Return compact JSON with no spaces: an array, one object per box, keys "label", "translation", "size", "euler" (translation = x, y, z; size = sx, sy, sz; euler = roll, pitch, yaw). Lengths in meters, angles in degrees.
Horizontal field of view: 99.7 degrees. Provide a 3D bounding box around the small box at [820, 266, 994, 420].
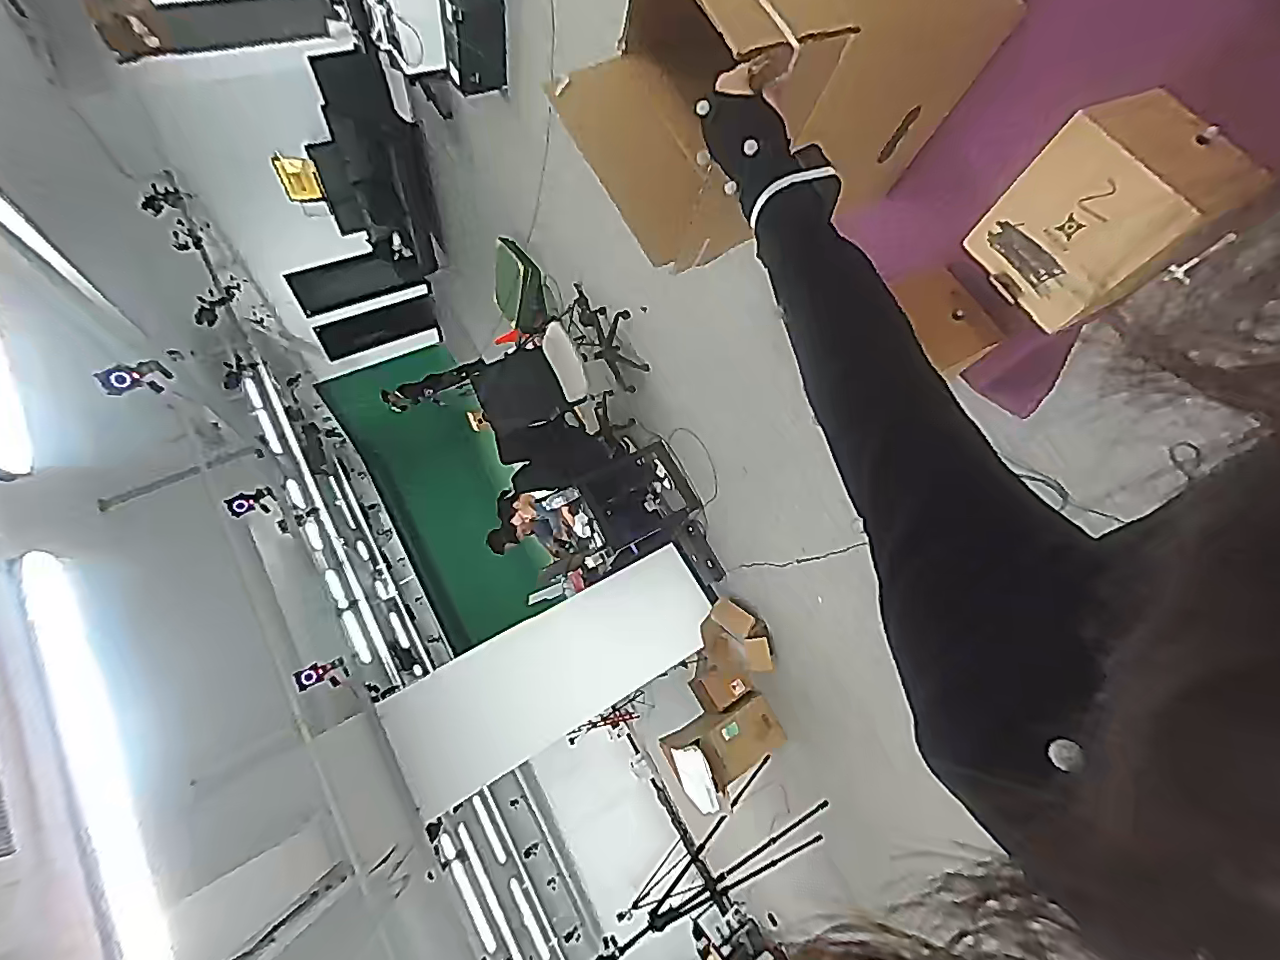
[{"label":"small box","translation":[0.459,-0.236,0.941],"size":[0.168,0.176,0.179],"euler":[59,158,14]}]
